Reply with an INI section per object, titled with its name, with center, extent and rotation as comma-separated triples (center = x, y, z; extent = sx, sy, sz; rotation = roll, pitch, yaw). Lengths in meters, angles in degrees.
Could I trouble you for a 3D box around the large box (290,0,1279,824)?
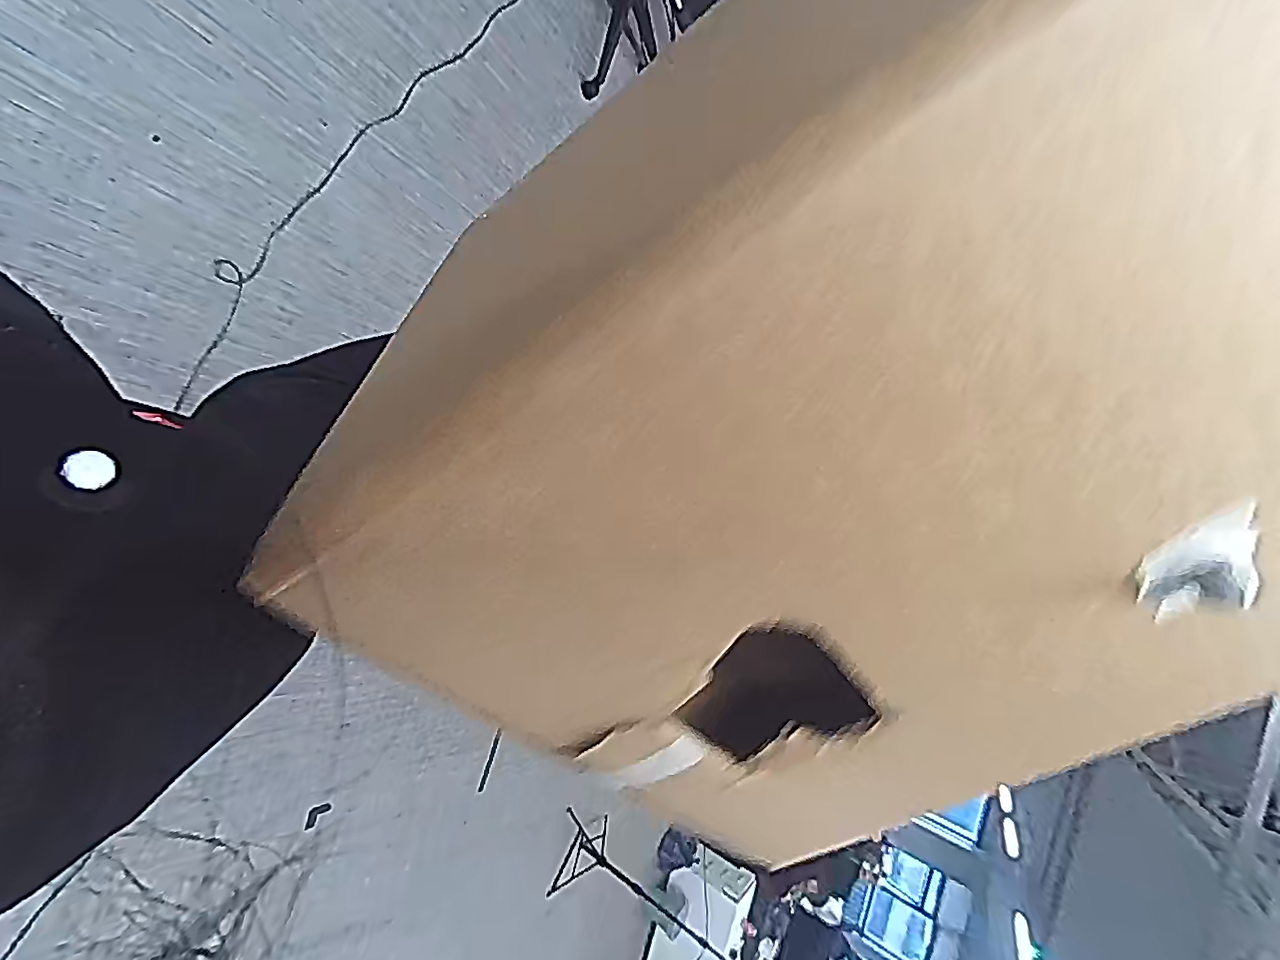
[large box]
center = 0.085, -0.084, 0.348
extent = 0.320, 0.320, 0.408
rotation = 48, 19, -33
